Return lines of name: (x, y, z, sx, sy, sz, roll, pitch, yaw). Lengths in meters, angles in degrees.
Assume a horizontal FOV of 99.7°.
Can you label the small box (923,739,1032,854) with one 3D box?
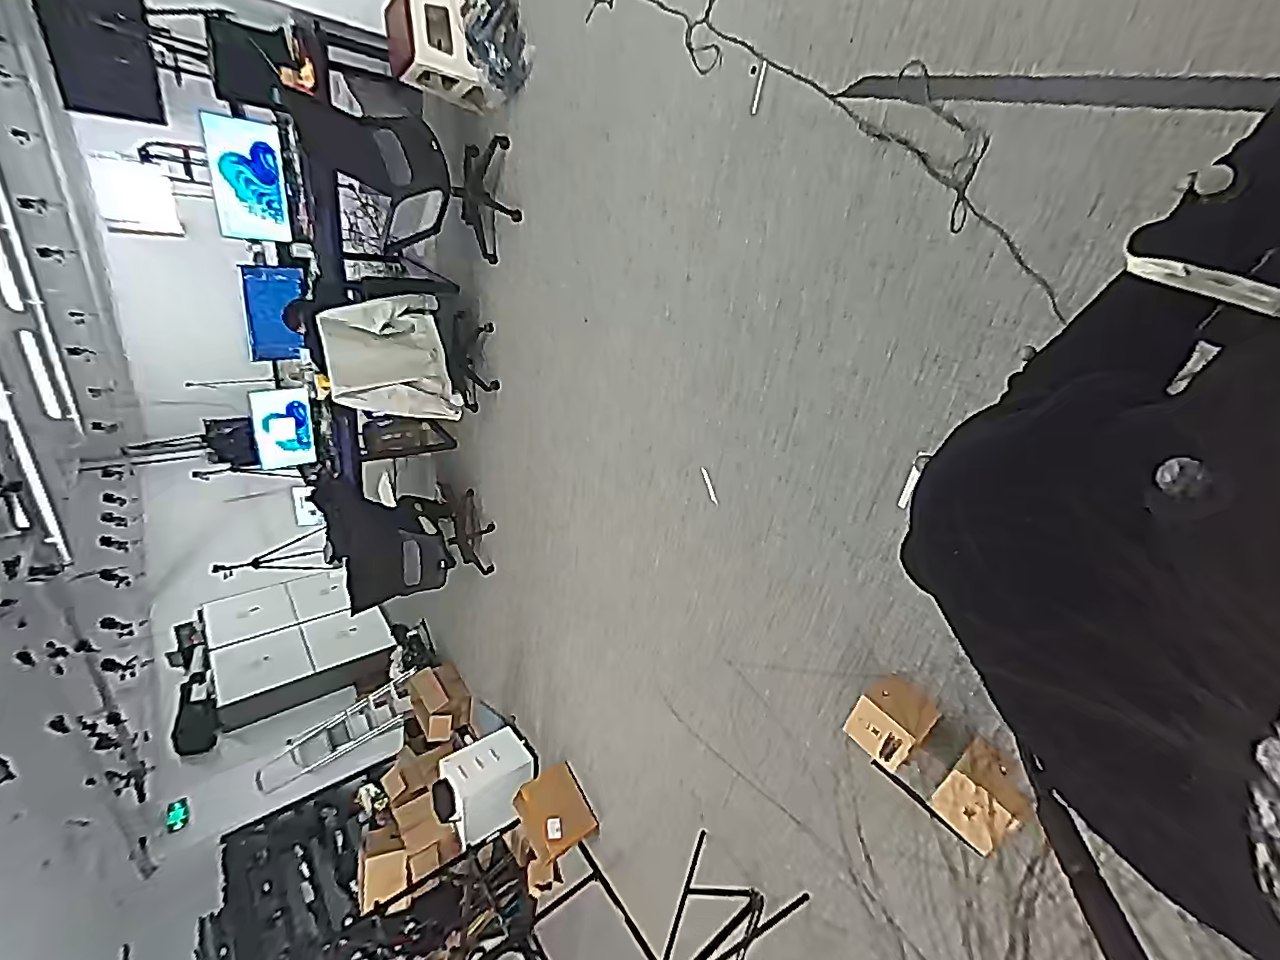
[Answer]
small box: (0.911, 0.846, 1.457, 0.168, 0.176, 0.179, 39, 128, 37)
